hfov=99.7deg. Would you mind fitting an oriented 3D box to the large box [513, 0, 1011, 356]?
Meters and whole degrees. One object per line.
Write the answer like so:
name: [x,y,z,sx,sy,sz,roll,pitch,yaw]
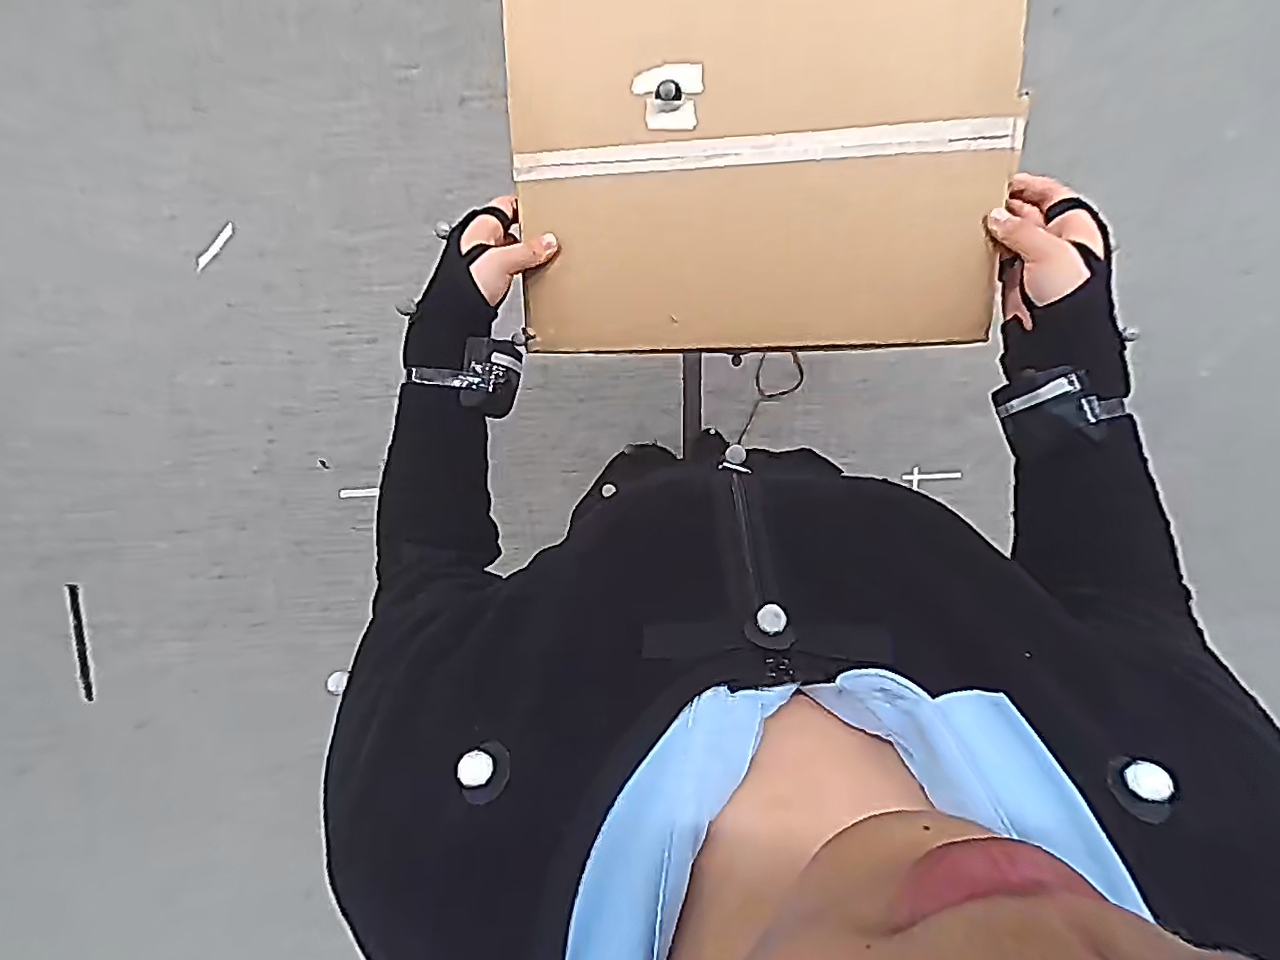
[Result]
large box: [0.115,-0.306,0.605,0.408,0.320,0.320,0,101,8]
